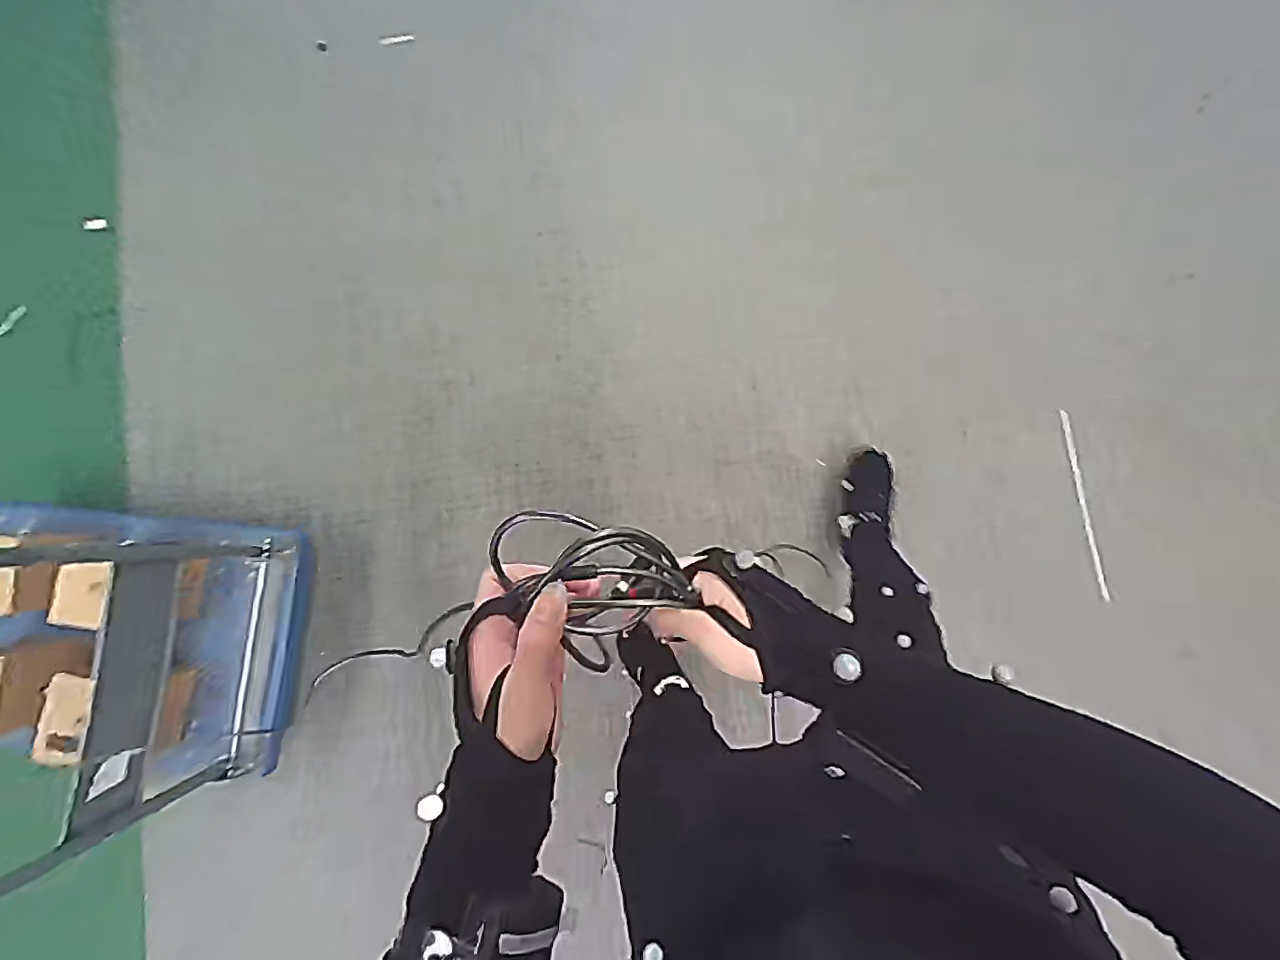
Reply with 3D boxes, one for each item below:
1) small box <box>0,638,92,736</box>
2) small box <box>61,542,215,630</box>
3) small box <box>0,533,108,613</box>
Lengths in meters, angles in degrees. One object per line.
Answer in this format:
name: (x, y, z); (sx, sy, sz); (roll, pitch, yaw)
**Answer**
small box: (-1.398, 0.456, 1.212); (0.179, 0.176, 0.168); (2, 84, 4)
small box: (-1.121, 0.232, 1.219); (0.179, 0.176, 0.168); (7, 85, 3)
small box: (-1.390, 0.206, 1.235); (0.179, 0.176, 0.168); (2, 86, 3)
